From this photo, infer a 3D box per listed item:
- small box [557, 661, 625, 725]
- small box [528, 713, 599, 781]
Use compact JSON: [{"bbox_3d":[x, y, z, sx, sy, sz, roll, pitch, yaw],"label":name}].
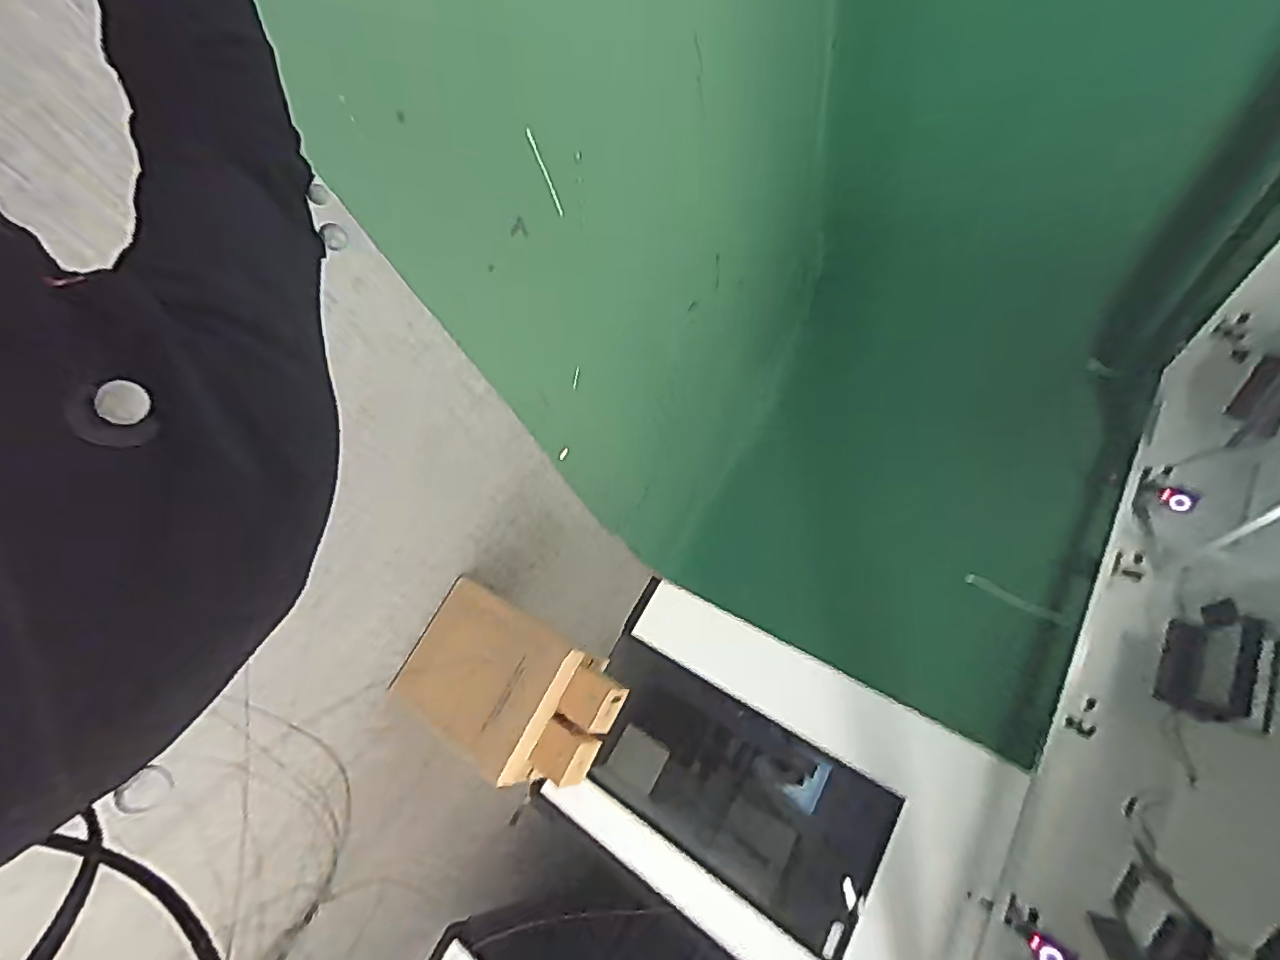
[{"bbox_3d":[-0.193,0.828,2.105,0.179,0.176,0.168,-61,148,-10],"label":"small box"},{"bbox_3d":[-0.296,1.013,2.067,0.179,0.176,0.168,-61,147,-8],"label":"small box"}]
